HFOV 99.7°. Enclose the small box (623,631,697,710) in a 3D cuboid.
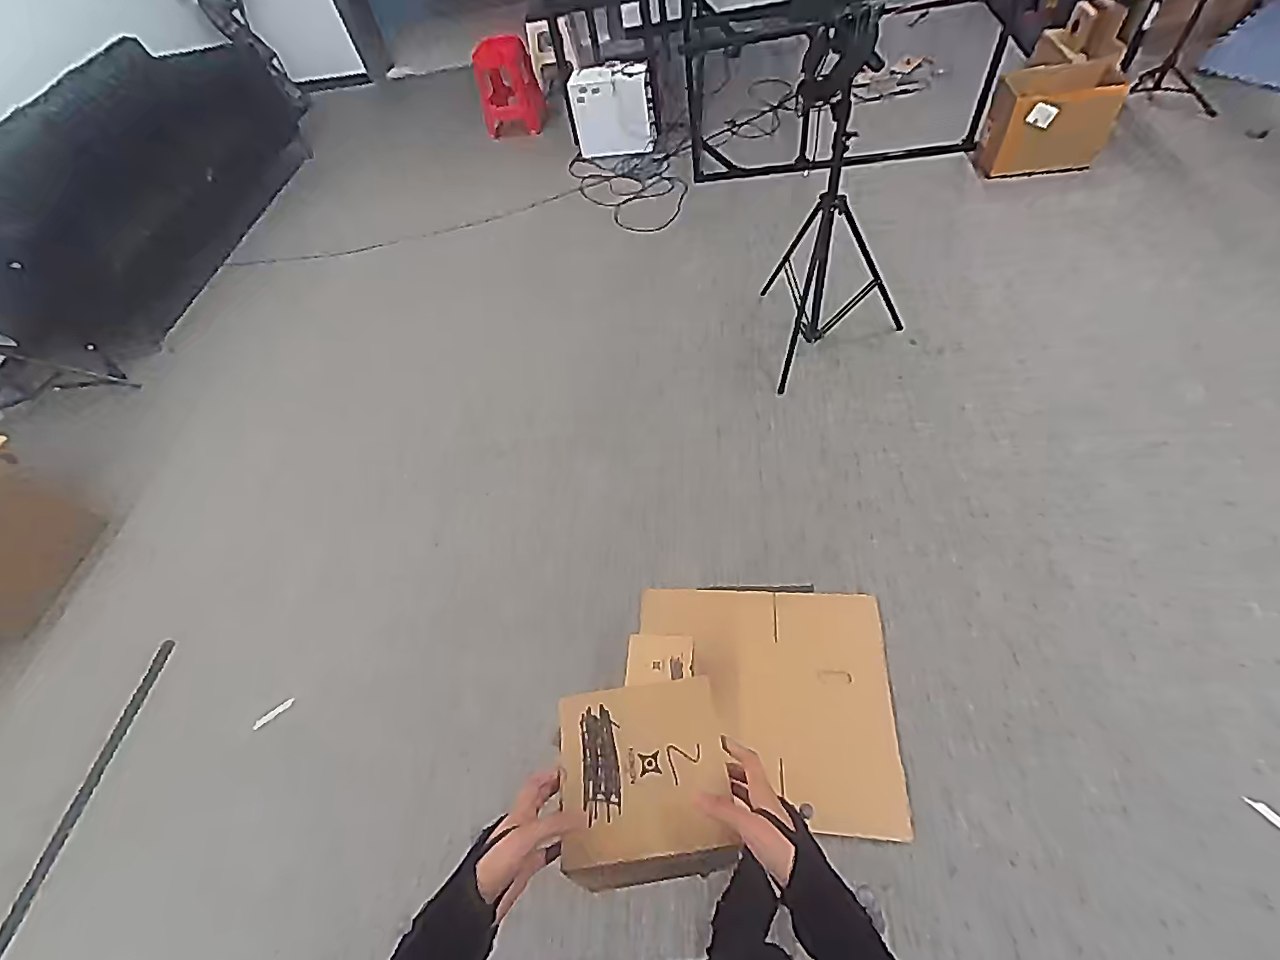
[{"bbox_3d":[0.062,0.523,1.476,0.179,0.176,0.168,-1,56,11],"label":"small box"}]
